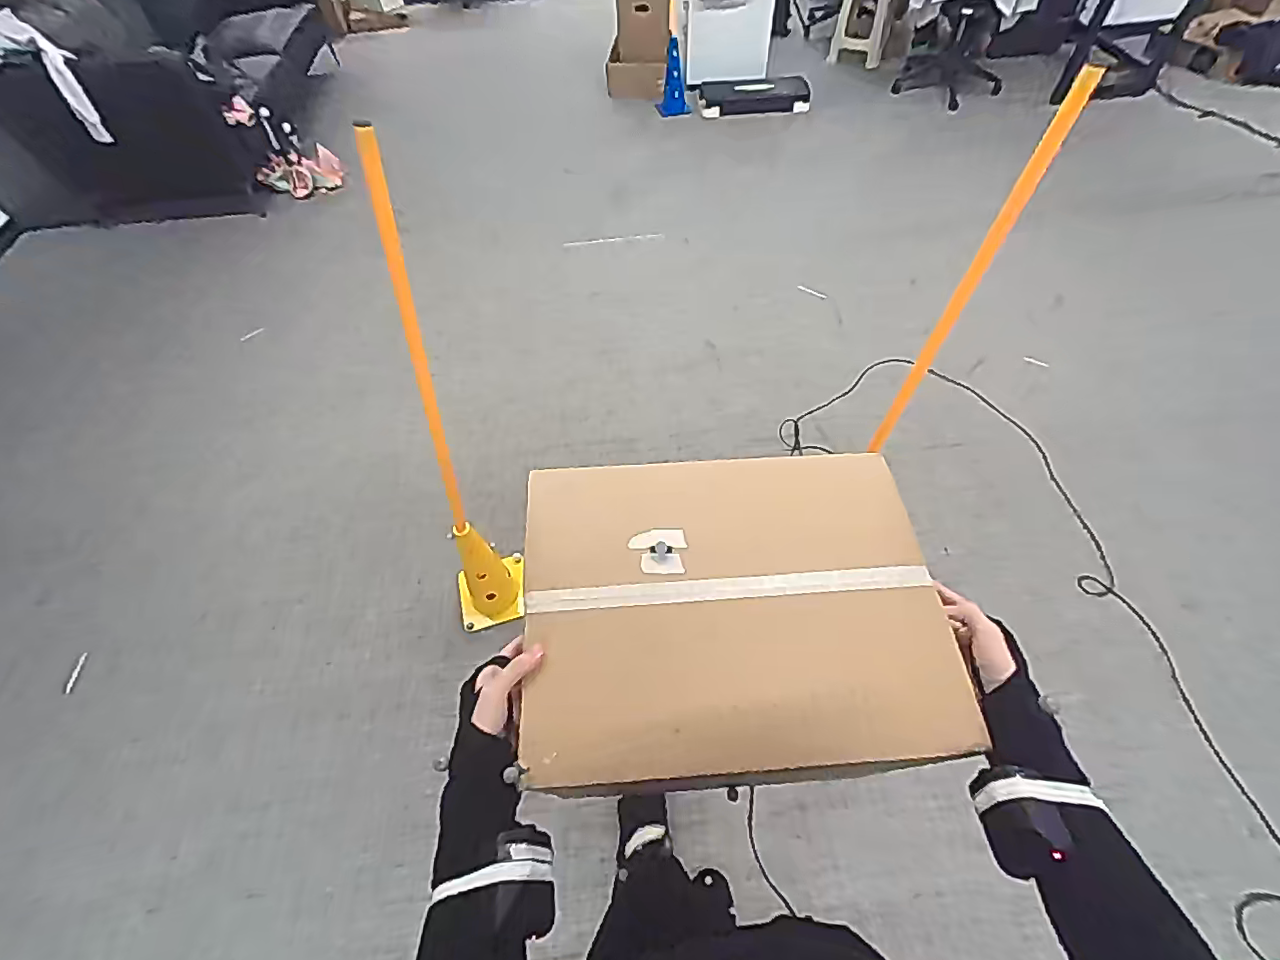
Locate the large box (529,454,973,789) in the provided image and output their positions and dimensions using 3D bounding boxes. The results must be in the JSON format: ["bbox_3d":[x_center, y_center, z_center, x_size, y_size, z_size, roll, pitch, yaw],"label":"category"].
[{"bbox_3d":[0.093,0.192,0.677,0.408,0.320,0.320,-4,58,-2],"label":"large box"}]
